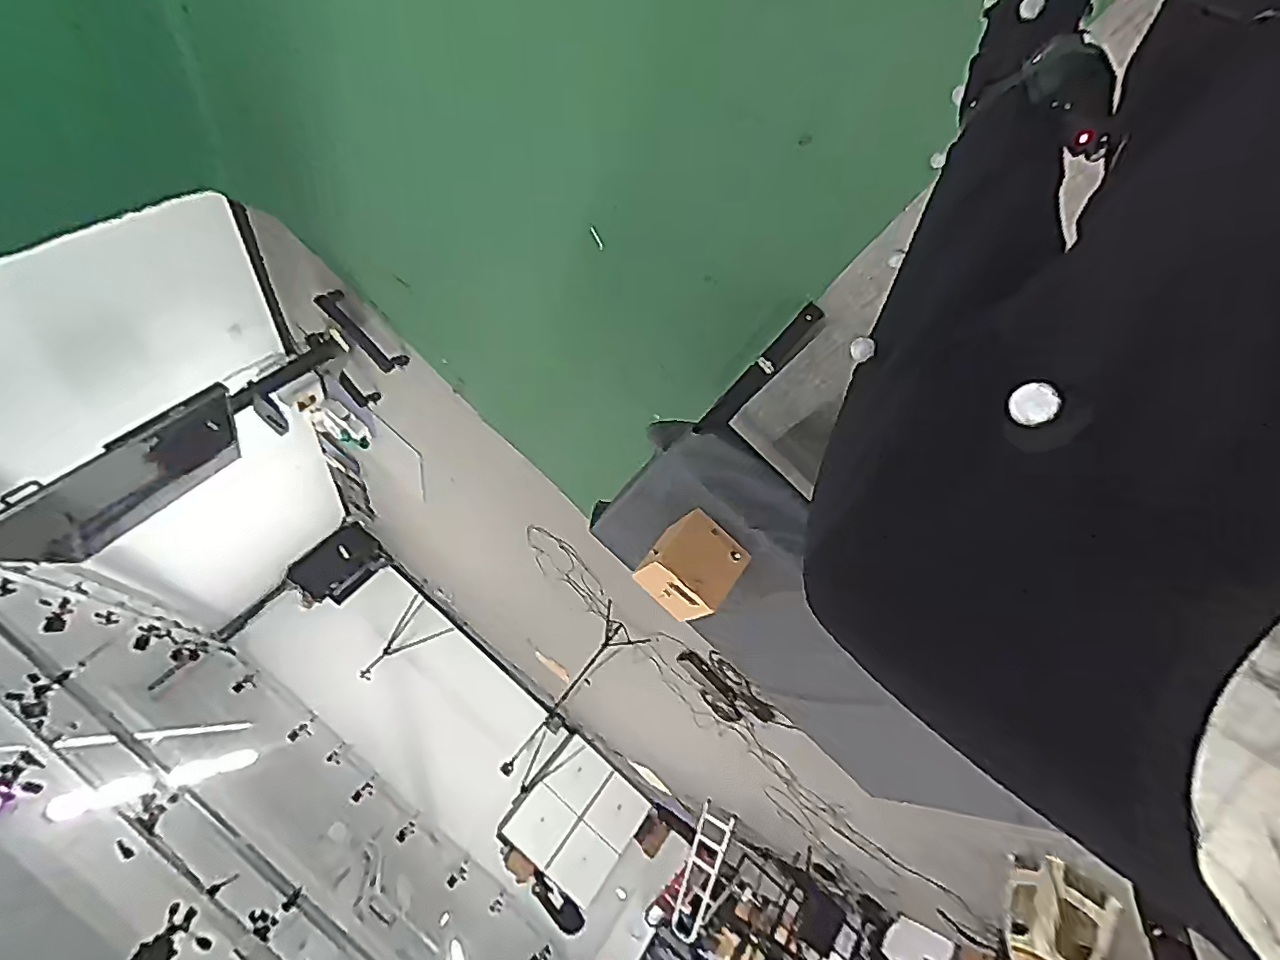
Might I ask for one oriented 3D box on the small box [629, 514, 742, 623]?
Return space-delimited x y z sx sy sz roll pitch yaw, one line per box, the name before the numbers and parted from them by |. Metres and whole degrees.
small box | 0.110 0.203 1.242 0.168 0.176 0.179 43 151 -1
